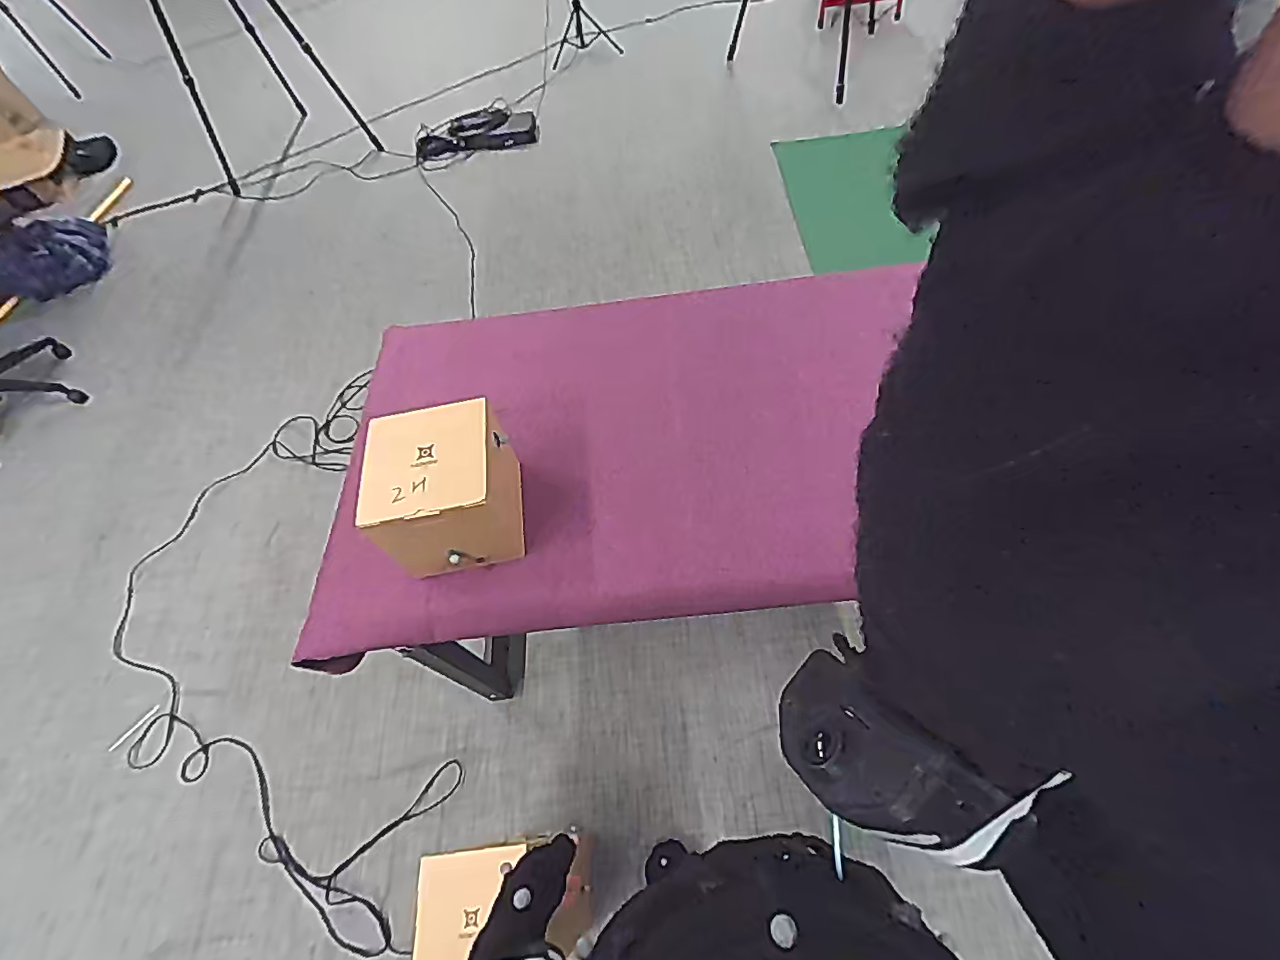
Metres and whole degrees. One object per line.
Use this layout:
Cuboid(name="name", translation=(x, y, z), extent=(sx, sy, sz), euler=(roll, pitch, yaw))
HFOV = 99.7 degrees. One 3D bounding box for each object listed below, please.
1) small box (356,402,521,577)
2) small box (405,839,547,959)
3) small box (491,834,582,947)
Cuboid(name="small box", translation=(-0.273, 0.018, 0.776), extent=(0.168, 0.176, 0.179), euler=(-10, 57, 0))
Cuboid(name="small box", translation=(-0.244, 0.669, 0.839), extent=(0.168, 0.176, 0.179), euler=(-8, 60, 2))
Cuboid(name="small box", translation=(-0.216, 0.840, 1.118), extent=(0.168, 0.176, 0.179), euler=(-5, 59, 3))
